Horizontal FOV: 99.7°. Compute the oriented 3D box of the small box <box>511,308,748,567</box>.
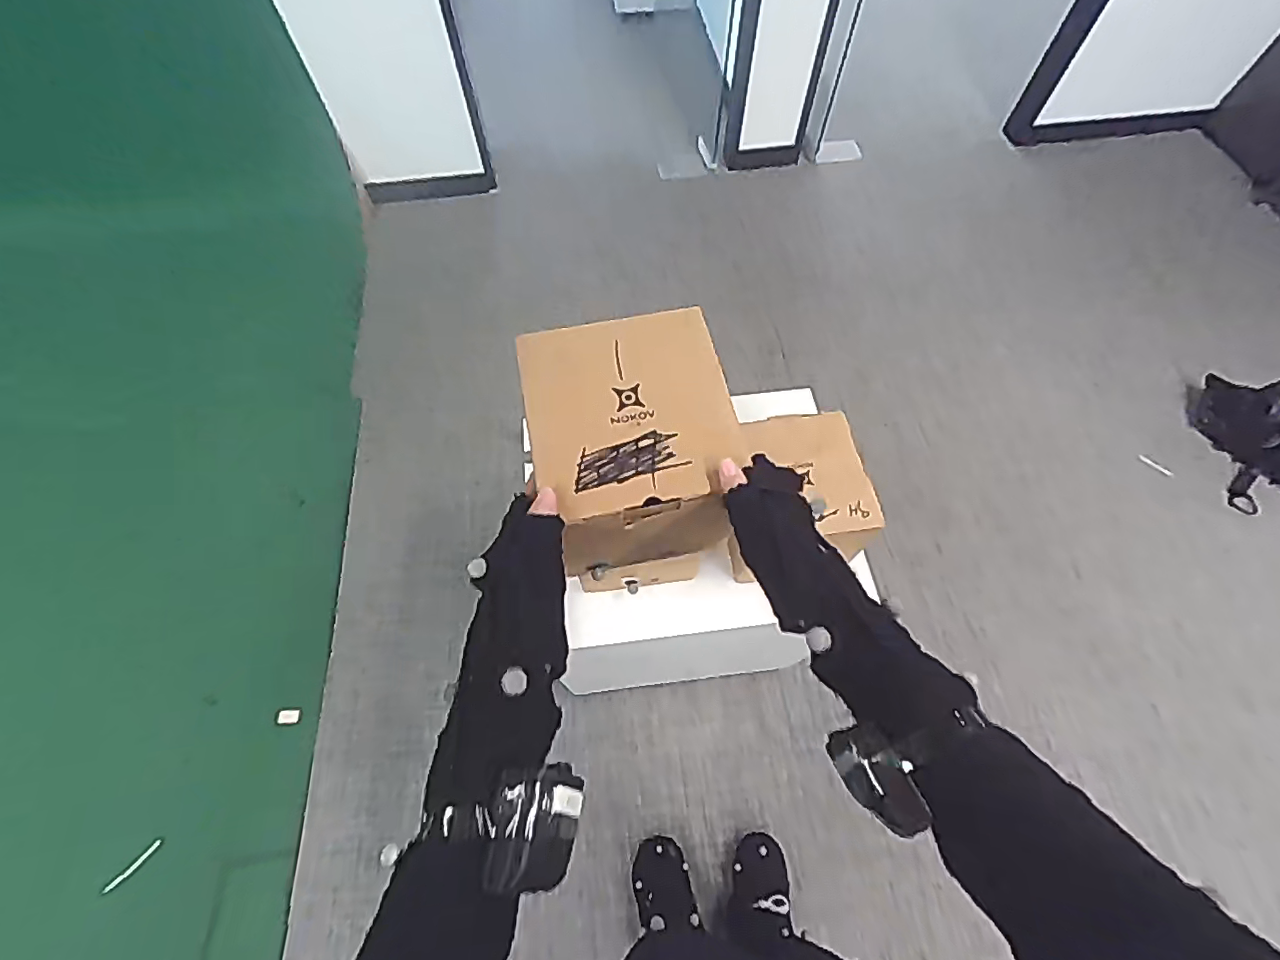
[{"bbox_3d":[-0.013,-0.026,0.505,0.168,0.176,0.179,-11,67,-5],"label":"small box"}]

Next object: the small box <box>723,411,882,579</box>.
[{"bbox_3d":[0.208,0.026,0.770,0.168,0.176,0.179,-7,62,-3],"label":"small box"}]

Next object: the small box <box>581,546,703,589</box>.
[{"bbox_3d":[-0.012,0.036,0.754,0.168,0.176,0.179,-9,64,-3],"label":"small box"}]
